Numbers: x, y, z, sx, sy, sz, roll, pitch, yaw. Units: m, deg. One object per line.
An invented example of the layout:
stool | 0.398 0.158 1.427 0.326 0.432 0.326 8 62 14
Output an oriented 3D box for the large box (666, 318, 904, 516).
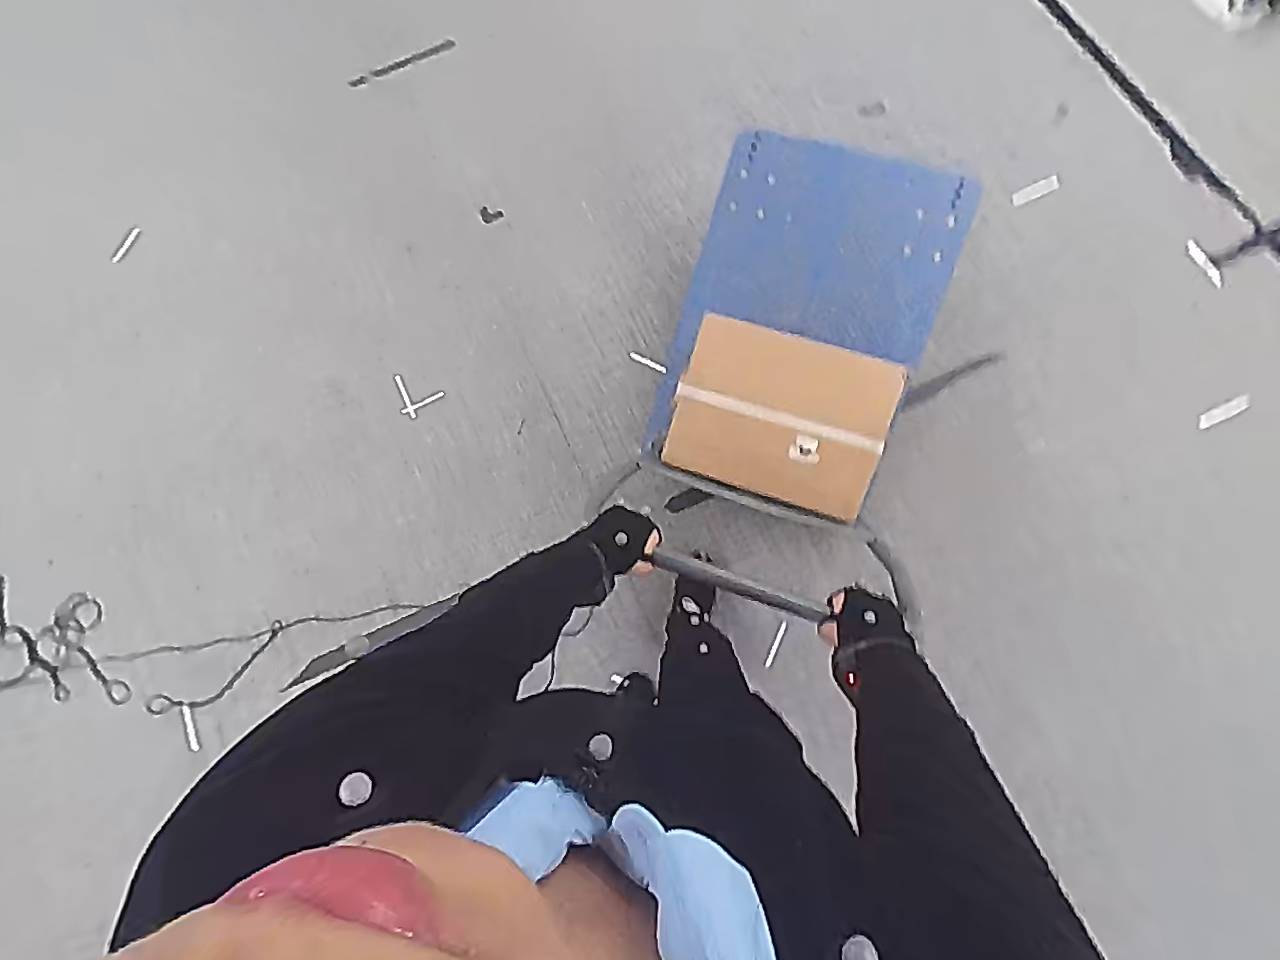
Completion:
large box | 0.300 -0.140 1.227 0.408 0.320 0.320 17 99 7
